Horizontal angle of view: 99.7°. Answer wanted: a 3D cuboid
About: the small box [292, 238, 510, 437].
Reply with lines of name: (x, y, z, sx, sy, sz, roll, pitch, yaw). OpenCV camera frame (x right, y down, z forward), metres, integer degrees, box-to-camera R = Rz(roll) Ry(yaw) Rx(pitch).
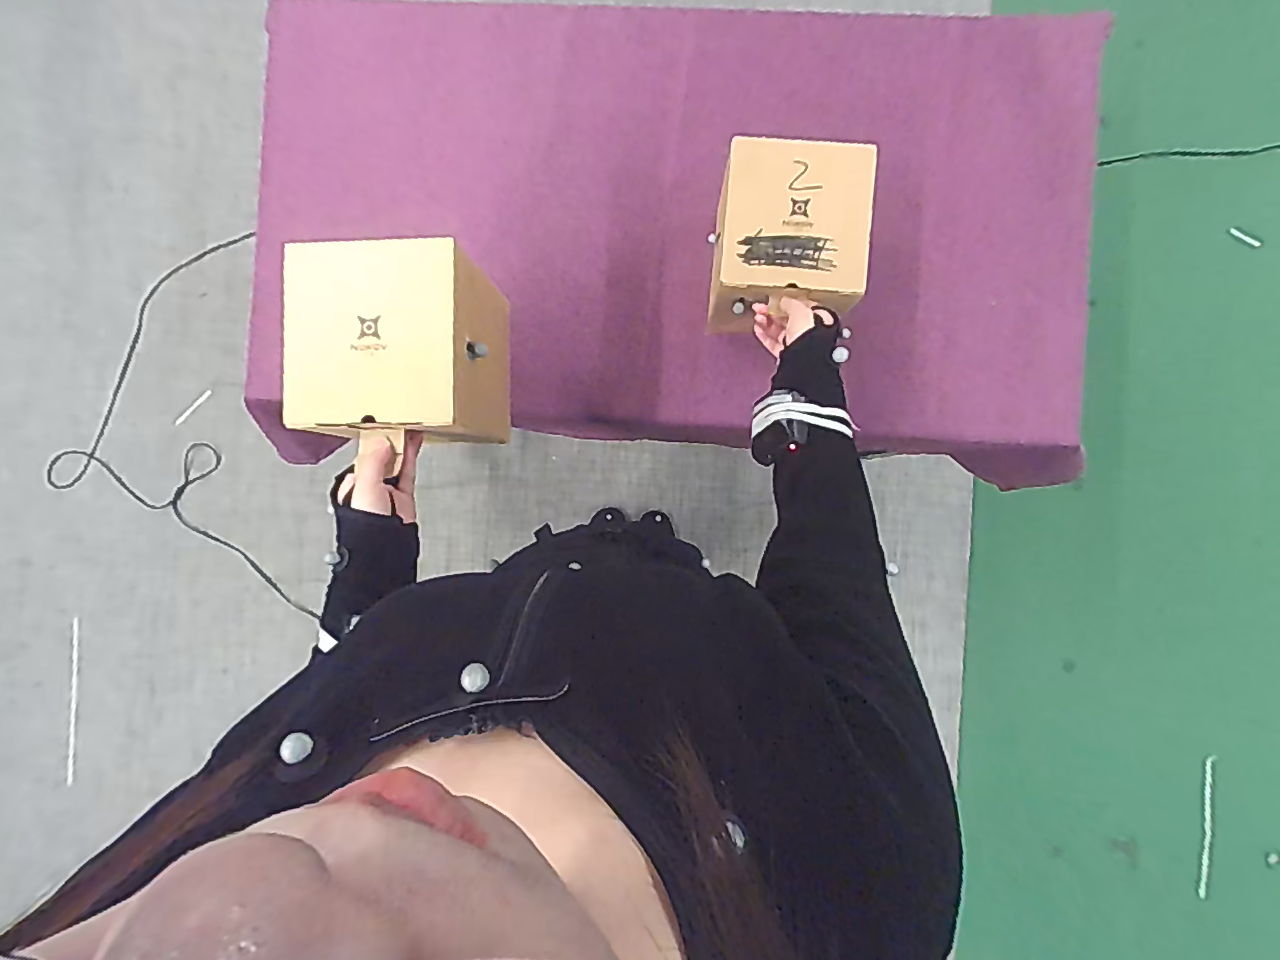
small box: (-0.248, -0.143, 0.597, 0.168, 0.176, 0.179, 0, 90, 4)
